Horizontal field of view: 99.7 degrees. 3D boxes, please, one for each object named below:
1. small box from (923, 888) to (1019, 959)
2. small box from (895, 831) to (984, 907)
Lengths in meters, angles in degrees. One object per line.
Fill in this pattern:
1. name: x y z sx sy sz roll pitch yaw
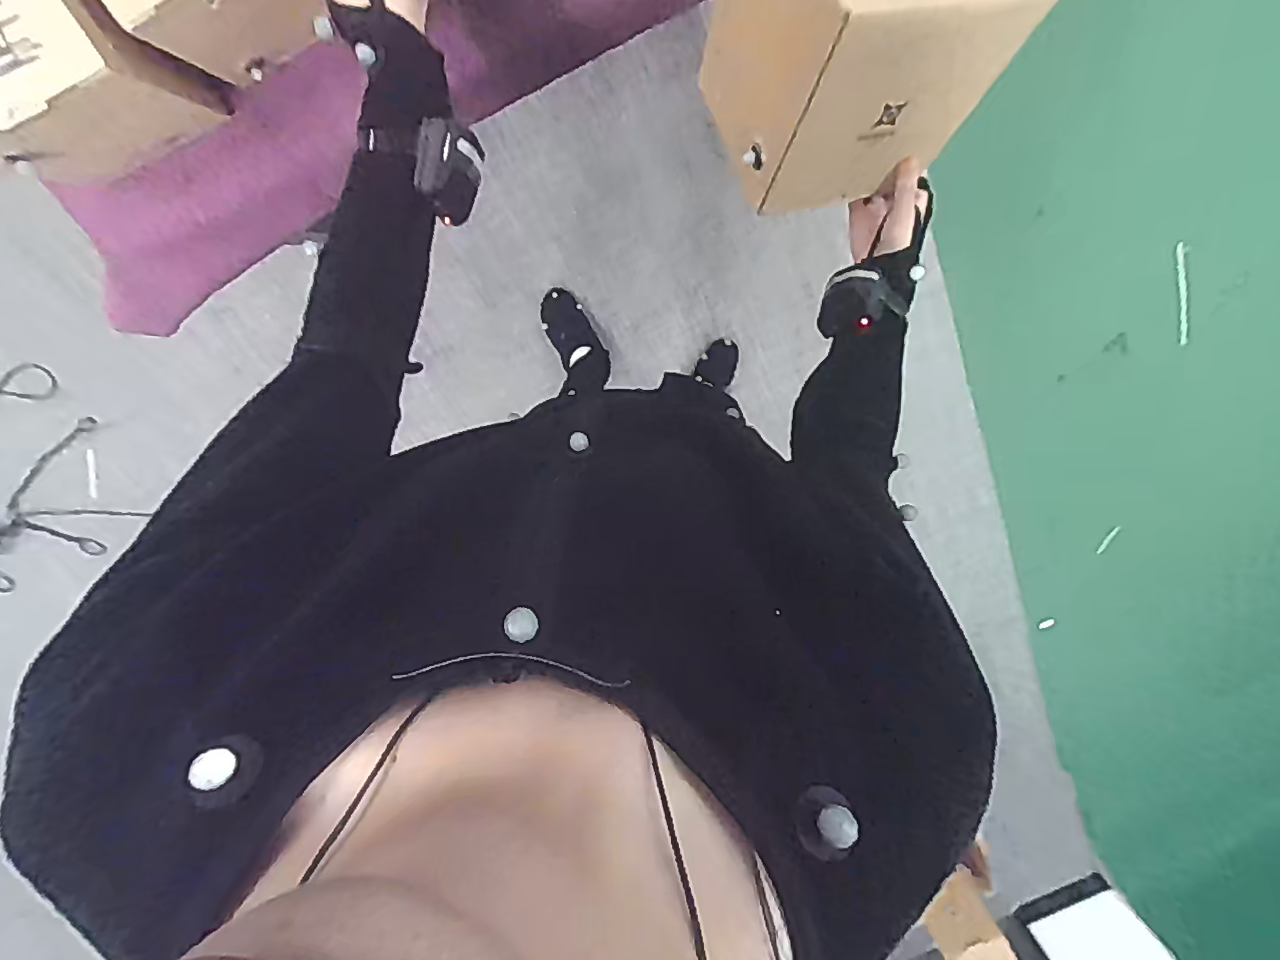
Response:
1. small box: 0.919 1.276 1.495 0.168 0.176 0.179 -29 112 6
2. small box: 0.916 1.221 1.651 0.168 0.176 0.179 -30 112 5
